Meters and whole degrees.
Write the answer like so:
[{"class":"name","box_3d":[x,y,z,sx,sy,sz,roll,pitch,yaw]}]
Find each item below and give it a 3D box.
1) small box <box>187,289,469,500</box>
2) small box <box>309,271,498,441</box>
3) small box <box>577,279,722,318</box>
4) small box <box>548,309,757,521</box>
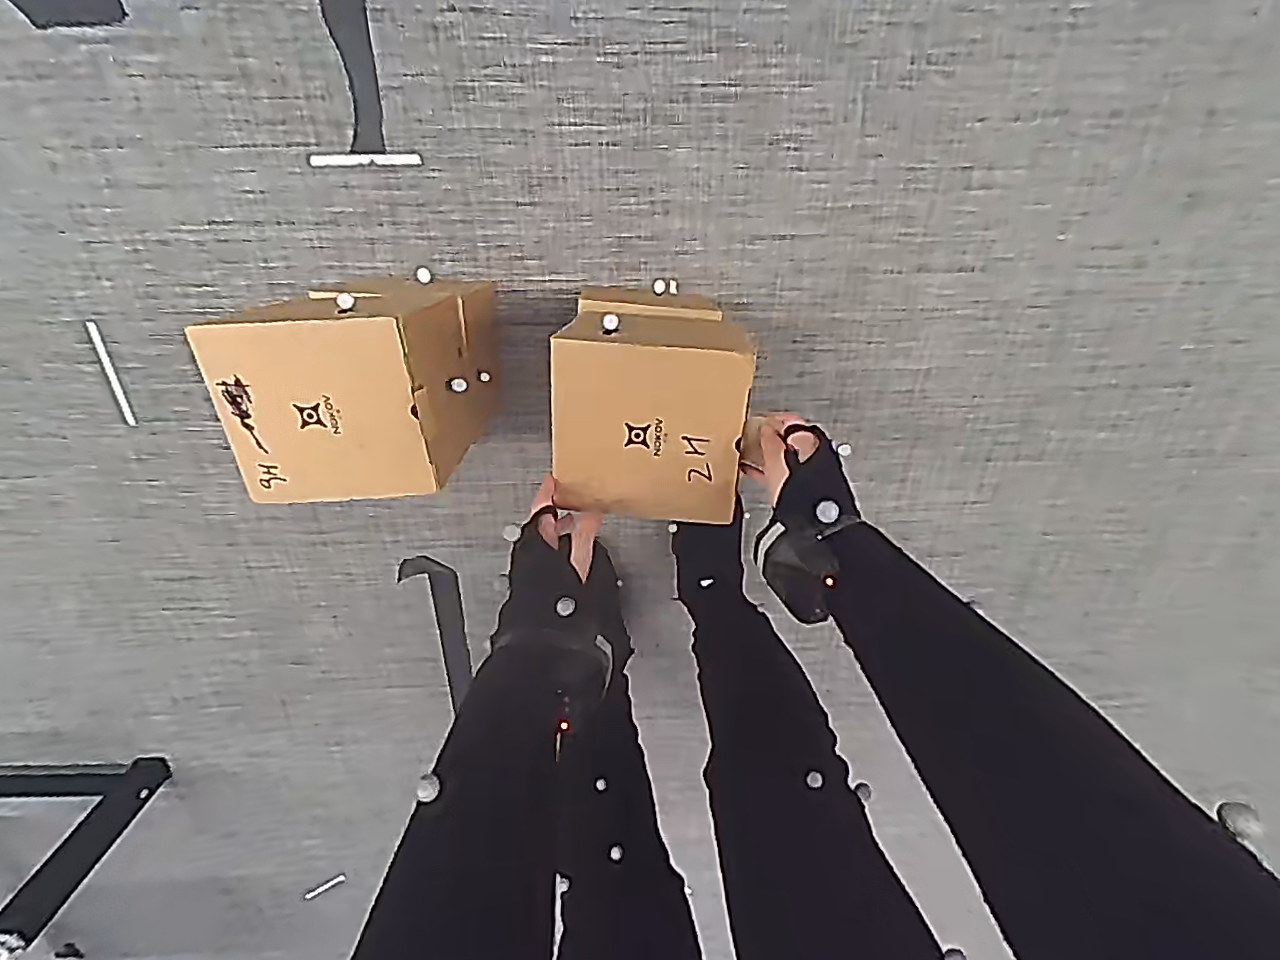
[{"class":"small box","box_3d":[-0.279,-0.094,0.539,0.179,0.176,0.168,-3,115,-2]},{"class":"small box","box_3d":[-0.281,-0.162,0.689,0.168,0.176,0.179,1,115,-4]},{"class":"small box","box_3d":[0.001,-0.156,0.708,0.168,0.176,0.179,4,115,-5]},{"class":"small box","box_3d":[0.013,-0.076,0.550,0.179,0.176,0.168,5,115,4]}]
